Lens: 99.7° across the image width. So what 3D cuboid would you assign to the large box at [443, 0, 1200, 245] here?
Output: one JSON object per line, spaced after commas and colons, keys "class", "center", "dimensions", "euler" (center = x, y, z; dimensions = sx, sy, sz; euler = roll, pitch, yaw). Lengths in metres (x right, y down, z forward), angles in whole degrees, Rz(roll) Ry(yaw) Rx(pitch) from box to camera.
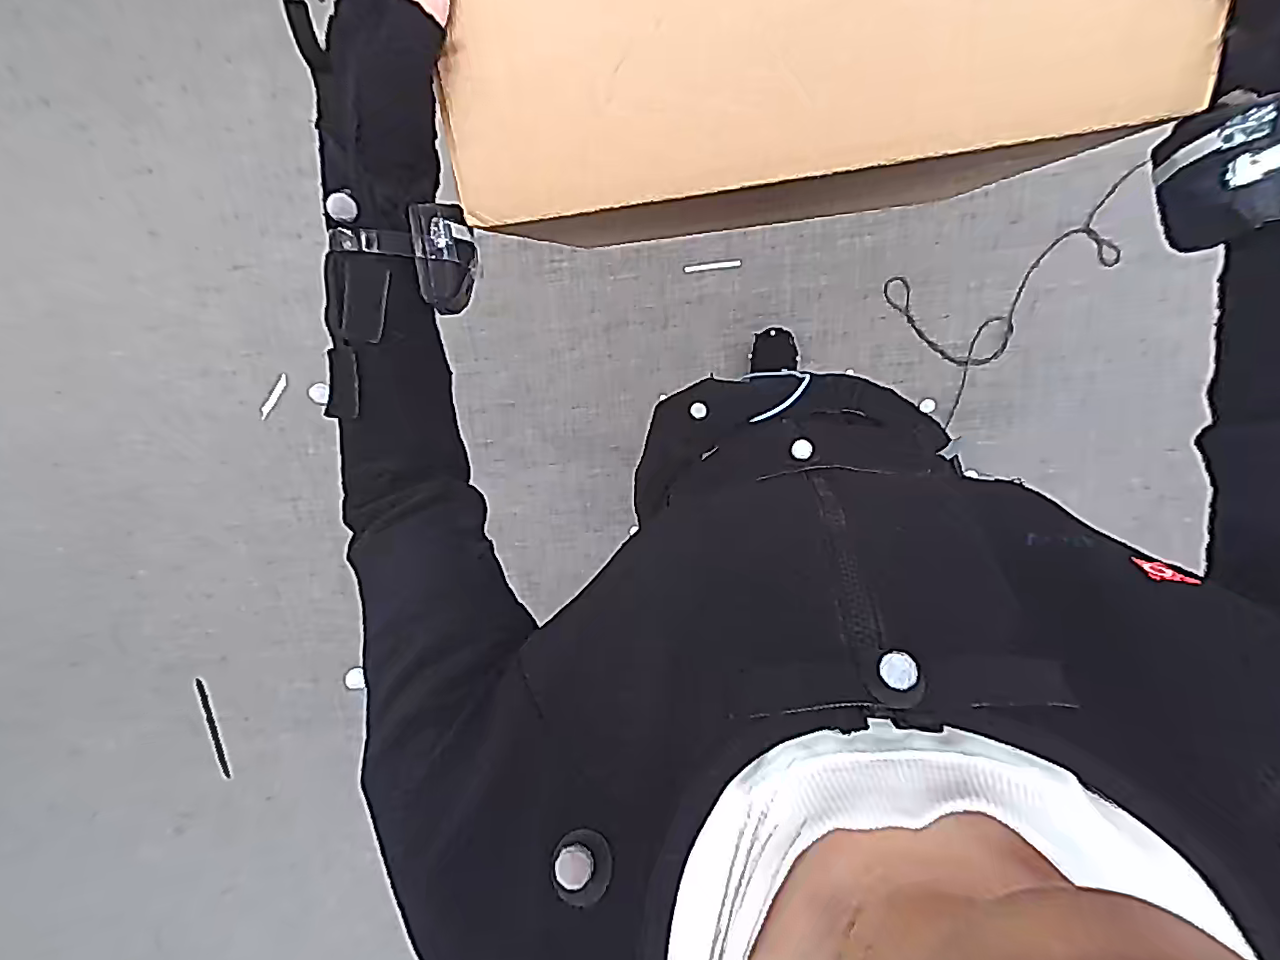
{"class": "large box", "center": [0.091, -0.382, 0.408], "dimensions": [0.408, 0.320, 0.320], "euler": [-5, 110, 9]}
